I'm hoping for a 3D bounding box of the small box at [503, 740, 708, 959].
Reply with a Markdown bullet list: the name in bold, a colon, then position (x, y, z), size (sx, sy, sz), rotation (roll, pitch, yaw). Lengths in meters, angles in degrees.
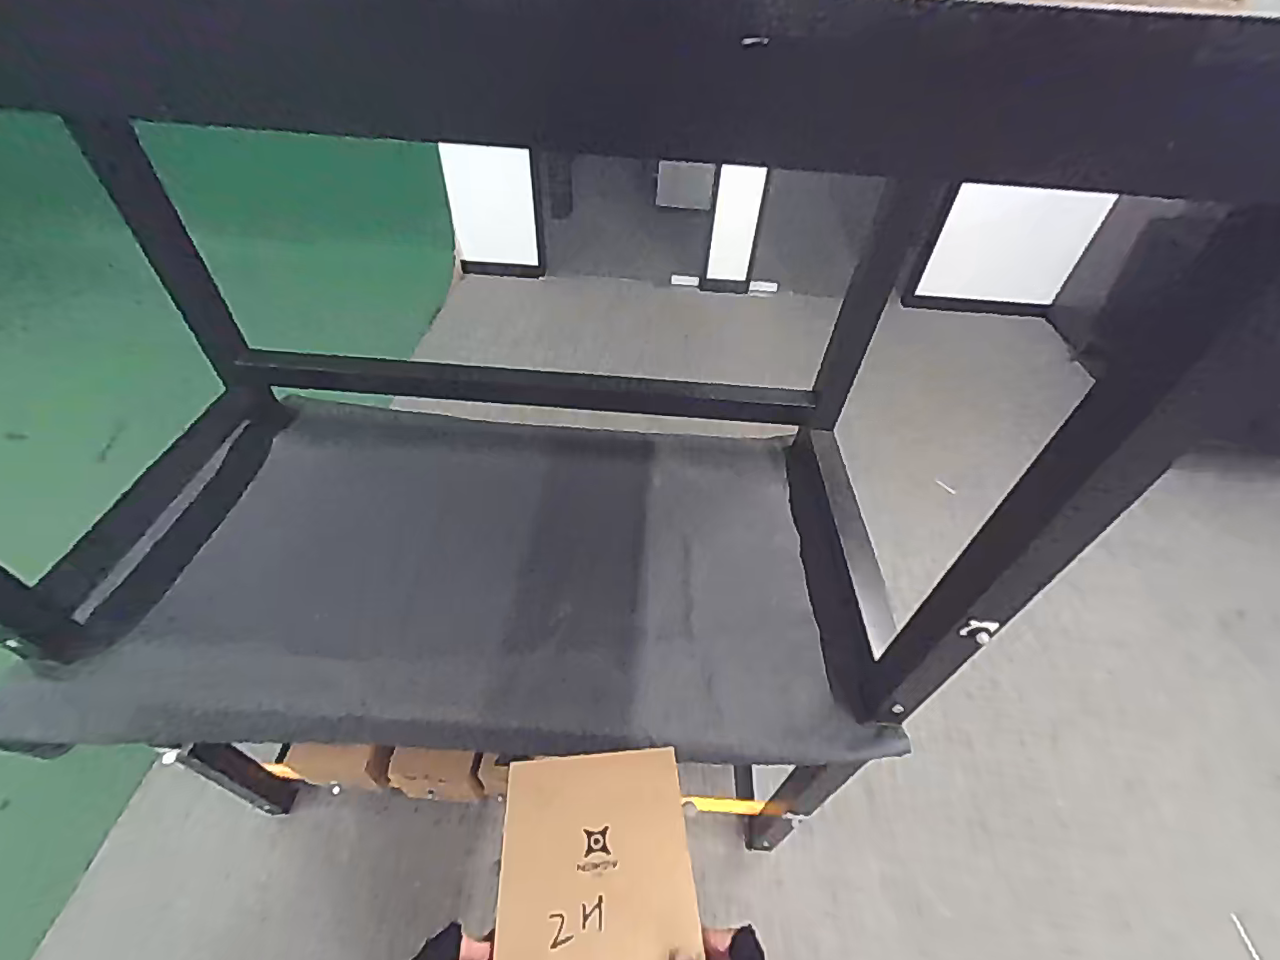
- **small box**: position (-0.034, 0.390, 0.539), size (0.168, 0.176, 0.179), rotation (-4, 39, -4)
